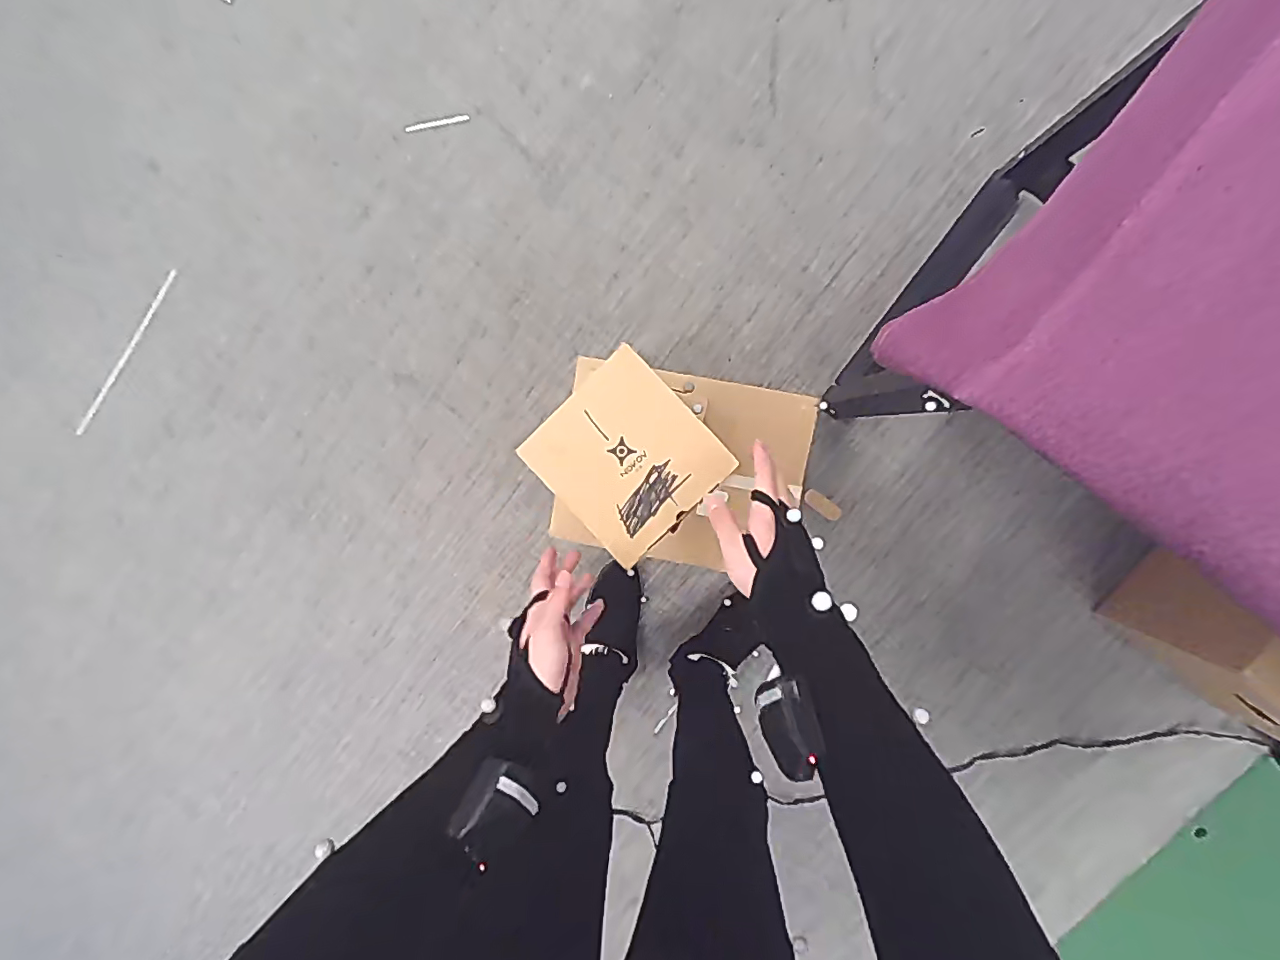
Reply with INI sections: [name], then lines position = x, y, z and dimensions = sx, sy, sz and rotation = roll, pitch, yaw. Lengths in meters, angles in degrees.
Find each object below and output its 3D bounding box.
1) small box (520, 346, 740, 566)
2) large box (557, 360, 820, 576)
[small box]
position = -0.004, -0.030, 0.641
dimensions = 0.168, 0.176, 0.179
rotation = -43, 89, 6
[large box]
position = 0.082, -0.031, 1.046
dimensions = 0.408, 0.320, 0.320
rotation = 10, 96, 3
